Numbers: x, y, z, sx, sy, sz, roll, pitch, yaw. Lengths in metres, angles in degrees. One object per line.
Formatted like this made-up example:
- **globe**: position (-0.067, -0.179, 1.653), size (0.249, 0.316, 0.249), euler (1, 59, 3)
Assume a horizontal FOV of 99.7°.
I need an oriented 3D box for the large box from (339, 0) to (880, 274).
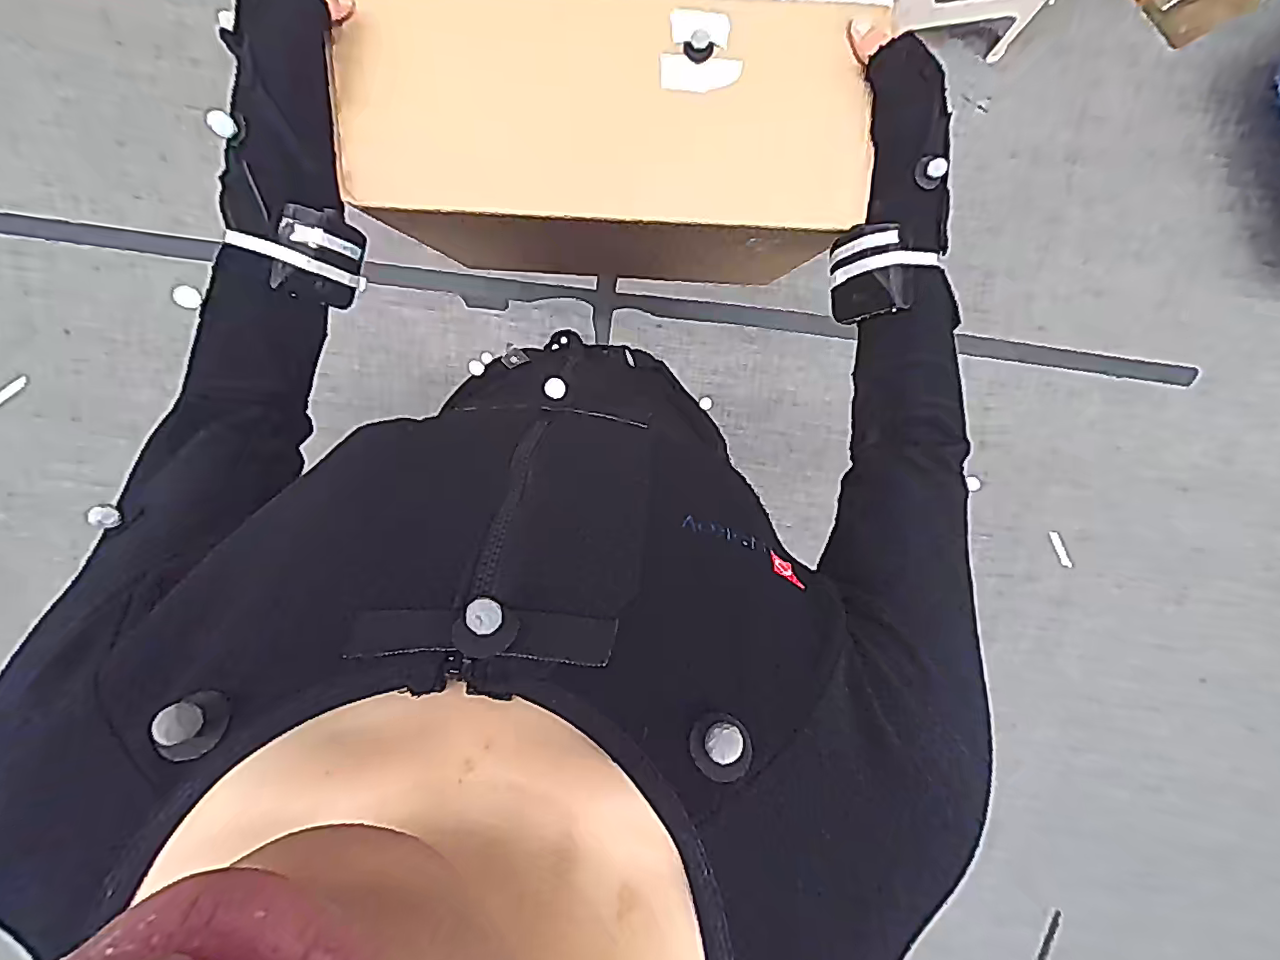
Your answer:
- **large box**: position (-0.023, -0.396, 0.538), size (0.408, 0.320, 0.320), euler (3, 103, -1)
